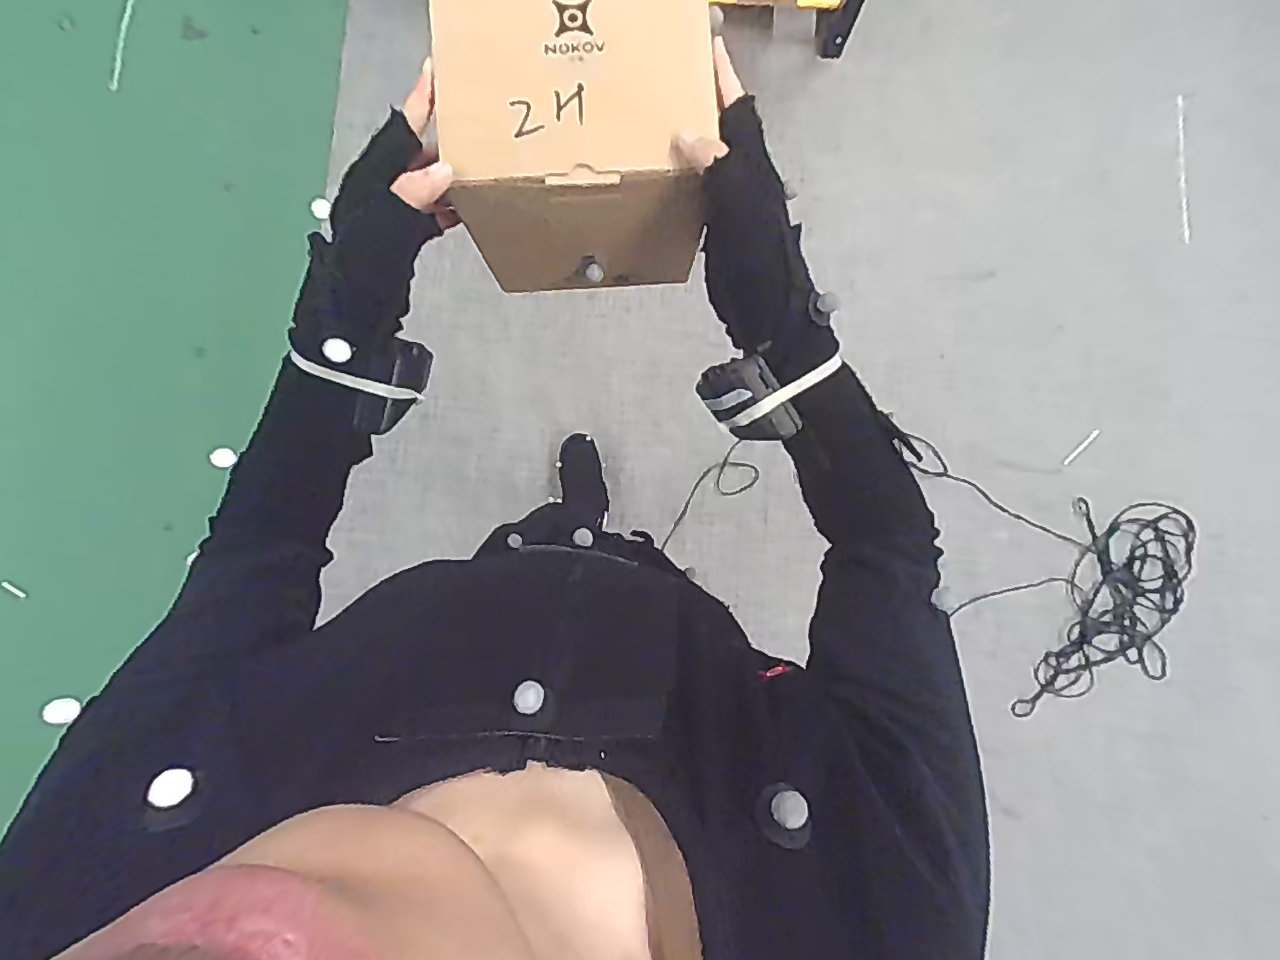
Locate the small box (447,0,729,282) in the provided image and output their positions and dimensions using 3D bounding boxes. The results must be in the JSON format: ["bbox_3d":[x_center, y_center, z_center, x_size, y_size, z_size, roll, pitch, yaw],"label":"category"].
[{"bbox_3d":[-0.035,-0.269,0.402,0.168,0.176,0.179,-4,87,-2],"label":"small box"}]
